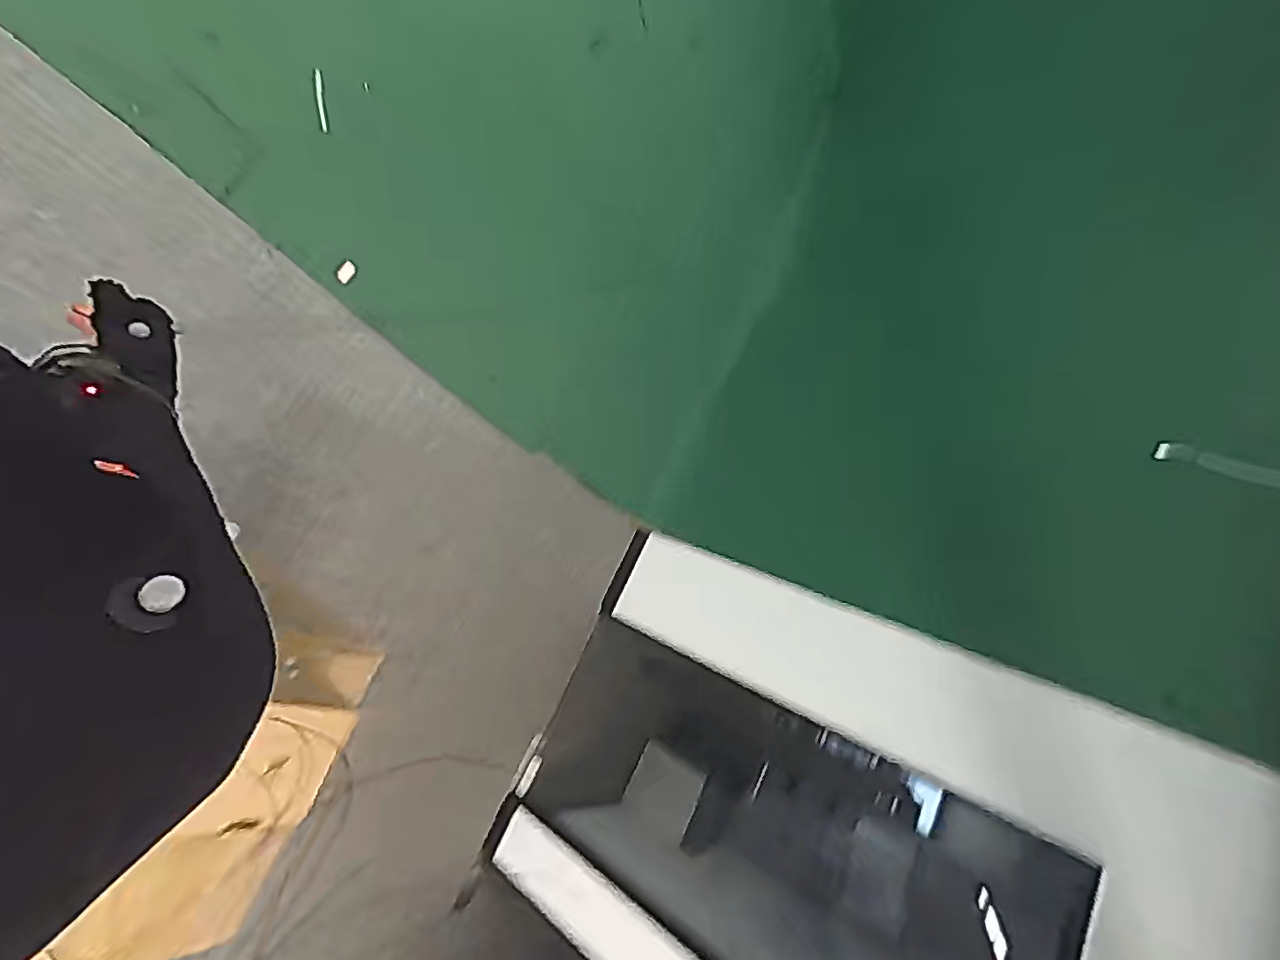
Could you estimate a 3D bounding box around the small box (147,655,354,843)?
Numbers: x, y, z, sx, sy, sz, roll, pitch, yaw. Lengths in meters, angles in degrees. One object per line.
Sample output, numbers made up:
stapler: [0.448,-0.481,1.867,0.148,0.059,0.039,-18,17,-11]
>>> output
small box: [-0.565,0.381,0.784,0.168,0.176,0.179,40,71,-50]
